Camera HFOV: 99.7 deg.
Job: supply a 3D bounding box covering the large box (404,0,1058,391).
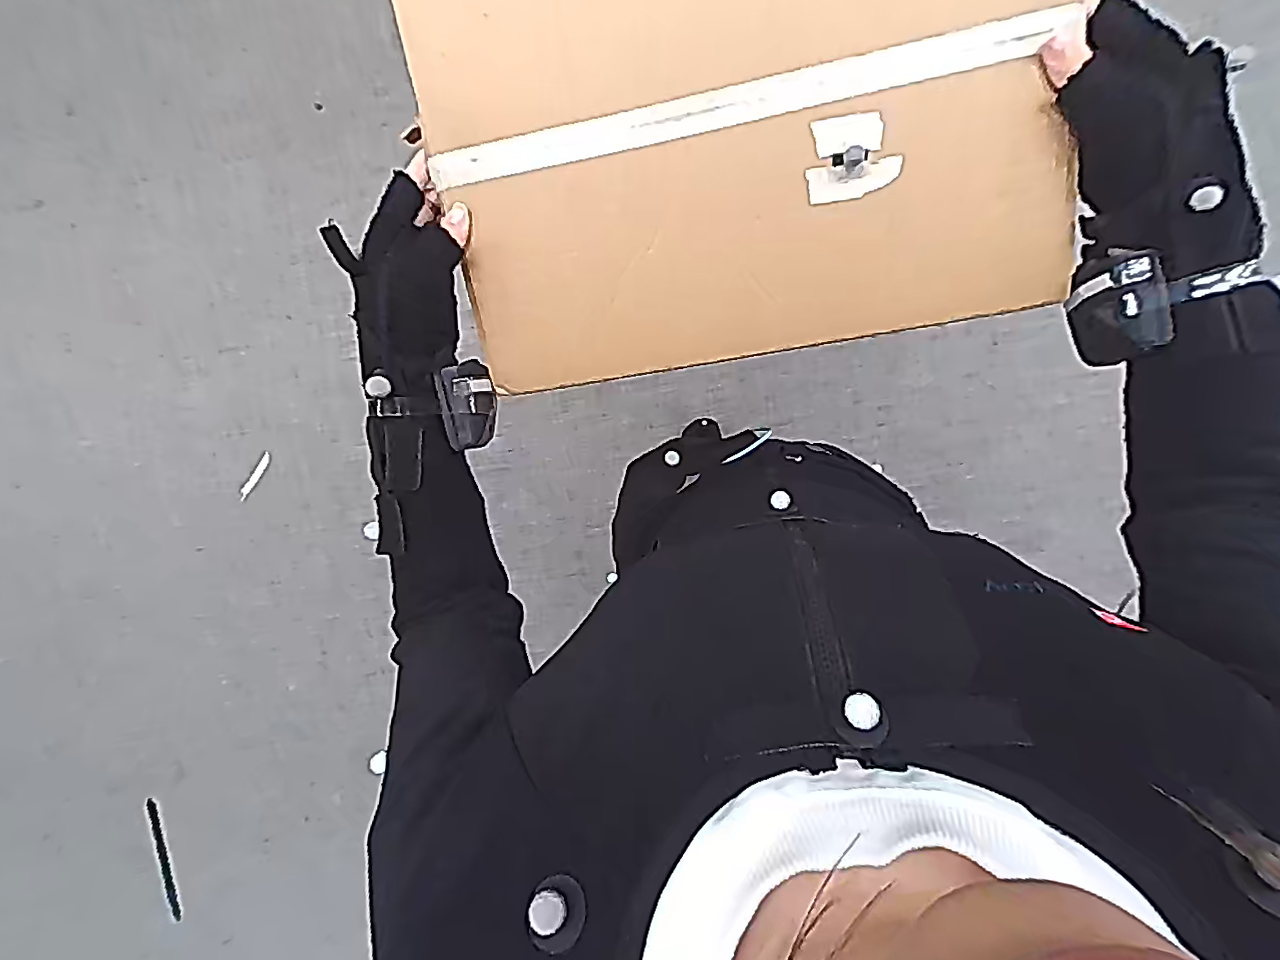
[{"bbox_3d":[0.070,-0.289,0.497,0.408,0.320,0.320,-9,108,6],"label":"large box"}]
